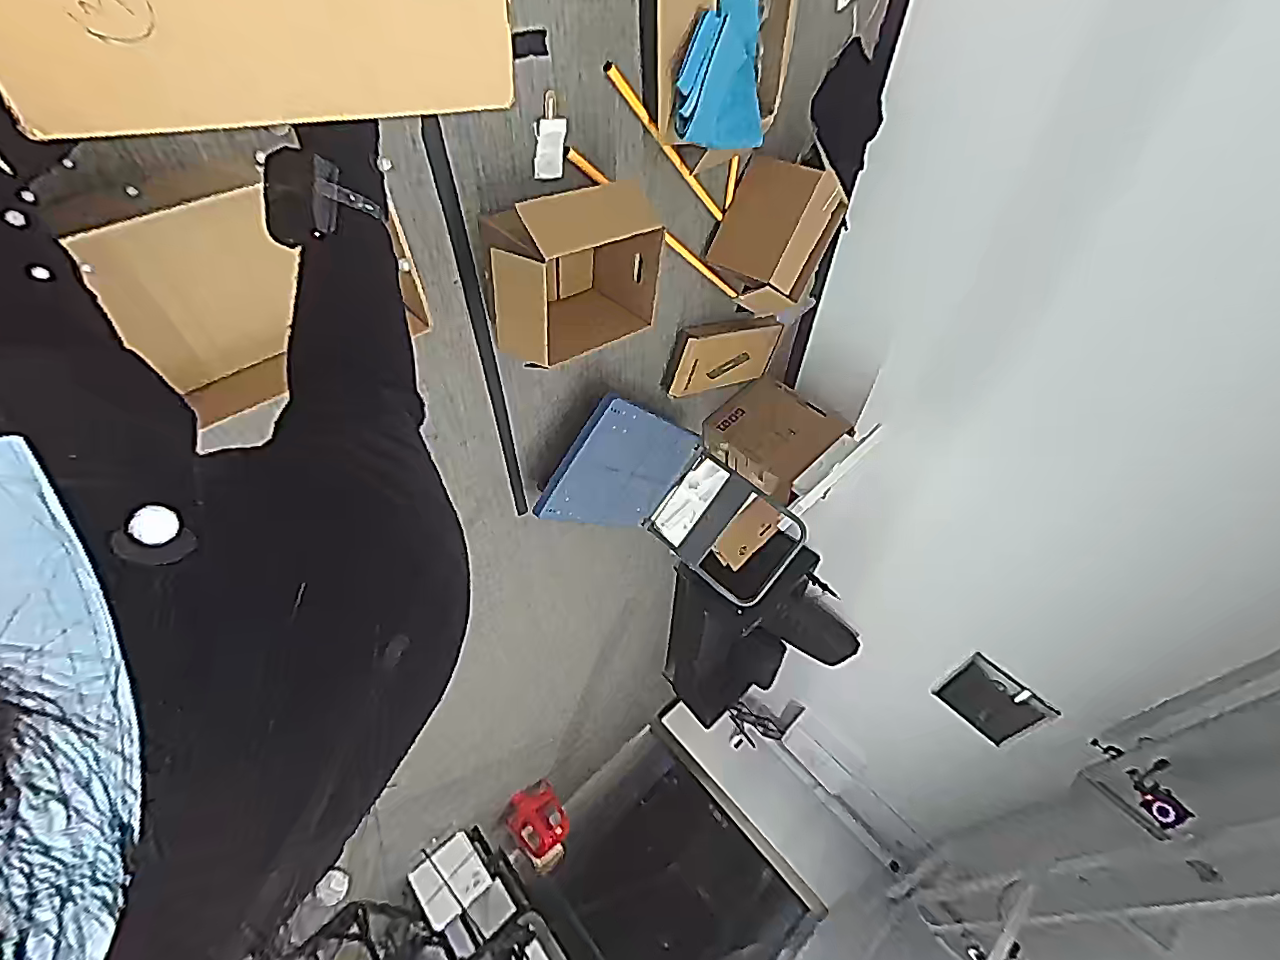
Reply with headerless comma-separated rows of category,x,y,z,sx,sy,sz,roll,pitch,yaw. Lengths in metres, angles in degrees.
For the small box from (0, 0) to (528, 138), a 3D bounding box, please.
small box,-0.157,-0.243,0.190,0.179,0.176,0.168,-25,148,-28
